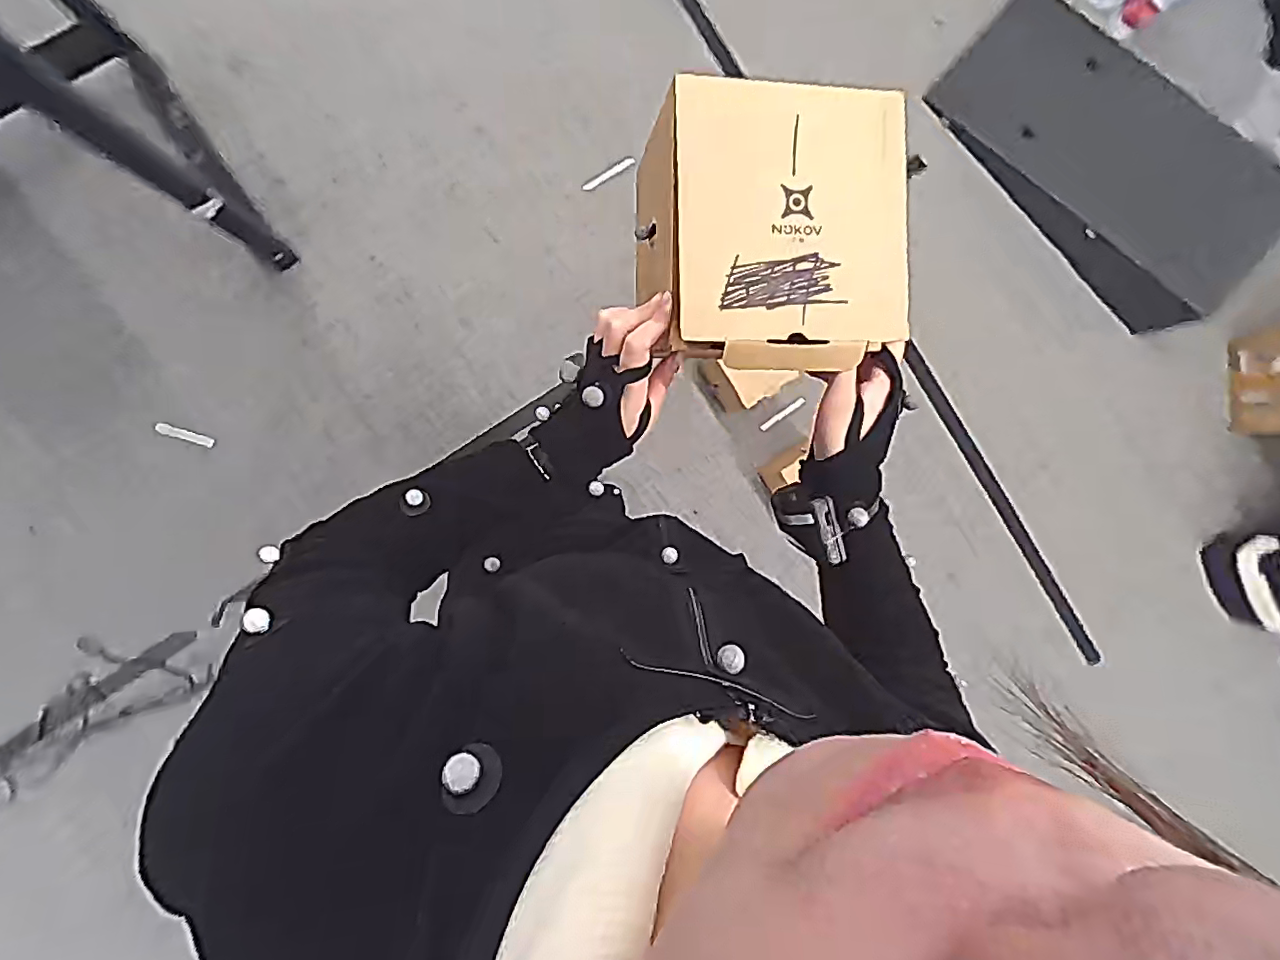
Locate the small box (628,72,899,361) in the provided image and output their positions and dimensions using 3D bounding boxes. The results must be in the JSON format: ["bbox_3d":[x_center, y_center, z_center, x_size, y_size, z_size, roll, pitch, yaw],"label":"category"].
[{"bbox_3d":[0.083,-0.190,0.446,0.168,0.176,0.179,-2,100,-9],"label":"small box"}]

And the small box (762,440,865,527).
[{"bbox_3d":[0.462,0.004,1.464,0.179,0.176,0.168,-32,96,-5],"label":"small box"}]

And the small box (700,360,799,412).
[{"bbox_3d":[0.281,-0.291,1.426,0.168,0.176,0.179,-32,97,-5],"label":"small box"}]
